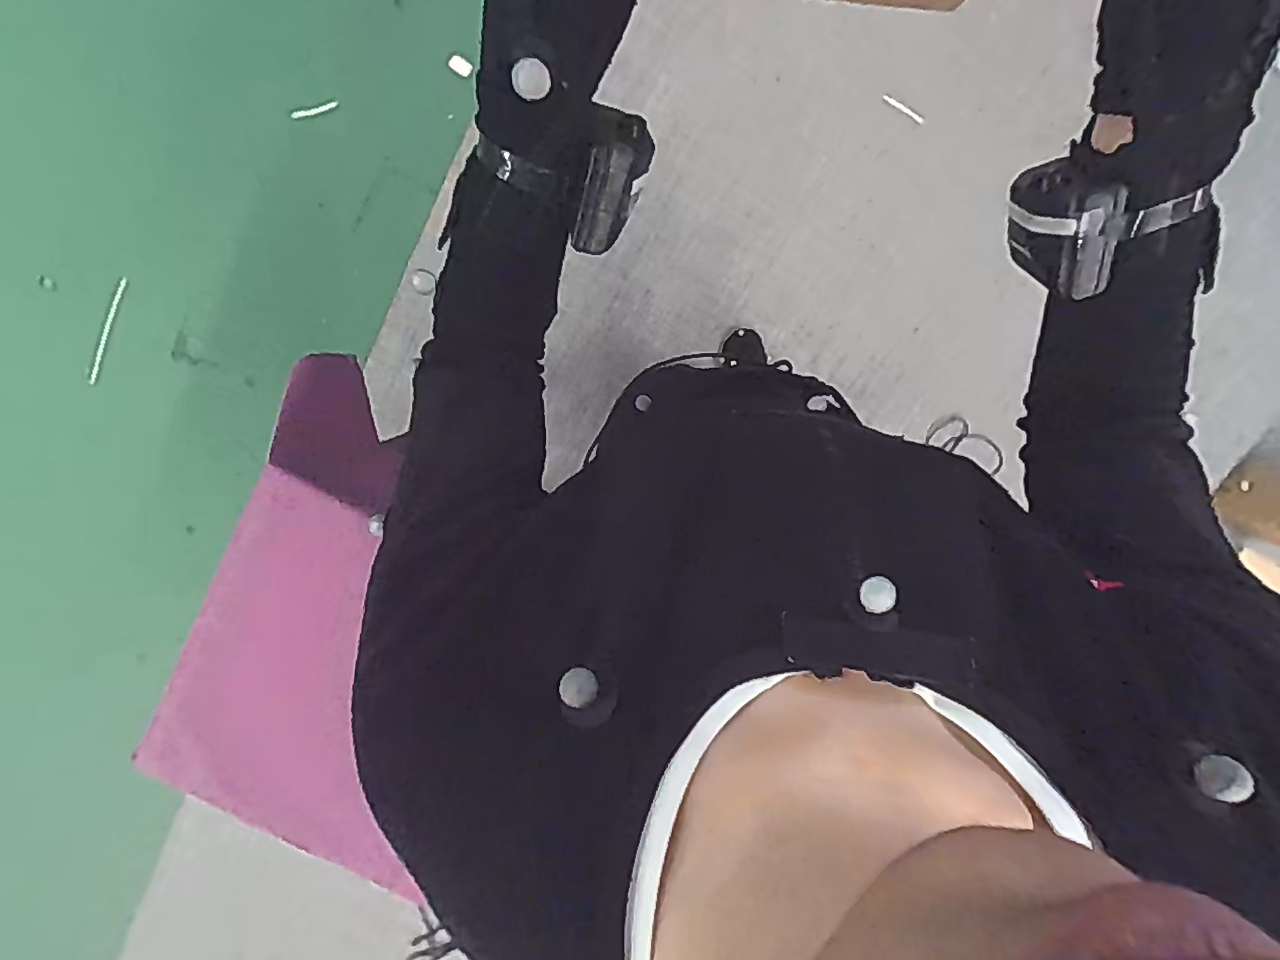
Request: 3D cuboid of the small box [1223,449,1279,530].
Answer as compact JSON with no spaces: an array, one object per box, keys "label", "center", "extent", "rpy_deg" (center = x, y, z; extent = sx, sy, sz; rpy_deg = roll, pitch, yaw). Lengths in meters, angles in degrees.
[{"label":"small box","center":[1.645,0.040,1.341],"extent":[0.179,0.176,0.168],"rpy_deg":[29,103,-4]}]
